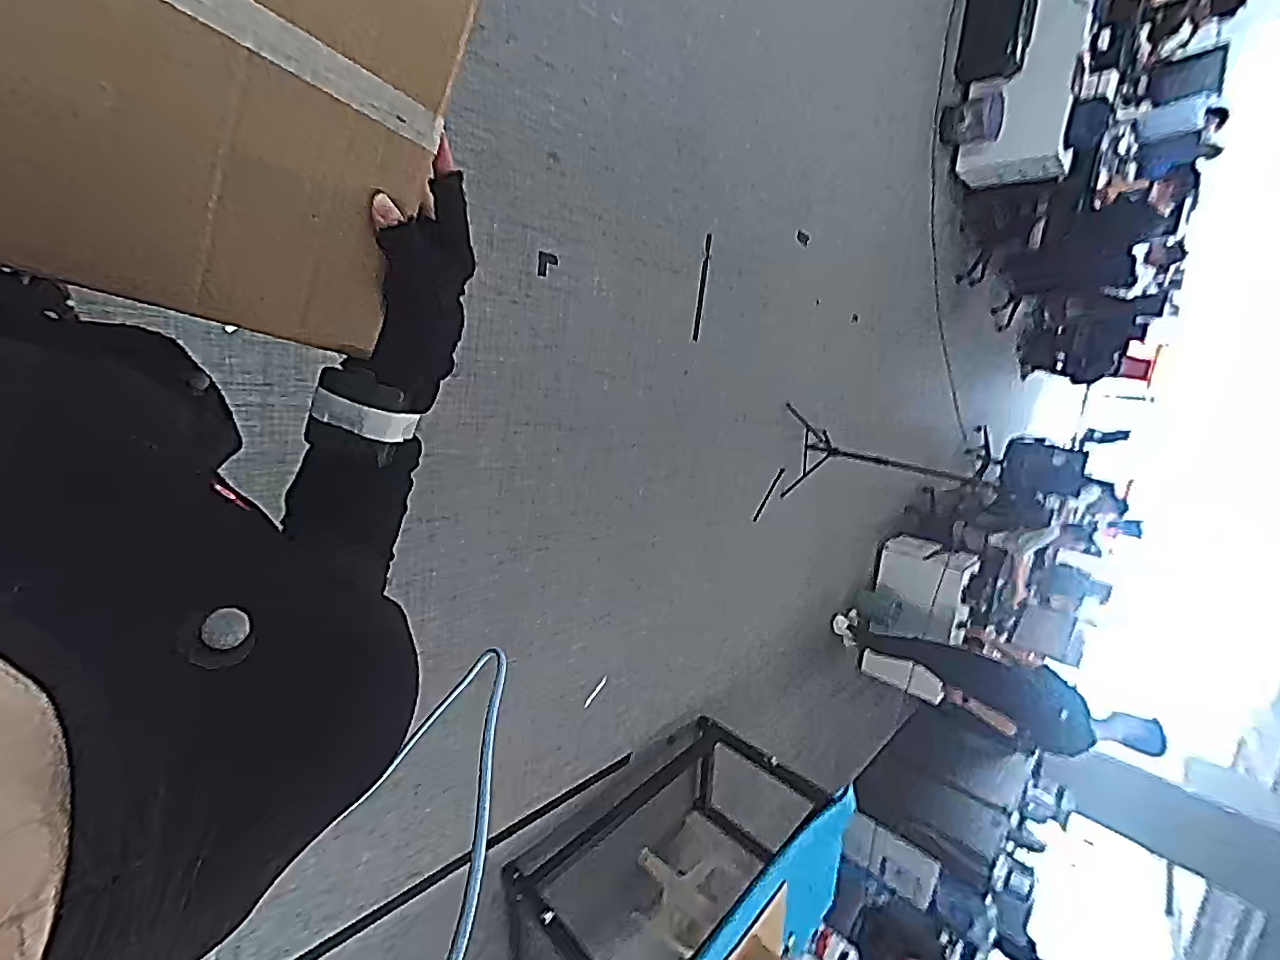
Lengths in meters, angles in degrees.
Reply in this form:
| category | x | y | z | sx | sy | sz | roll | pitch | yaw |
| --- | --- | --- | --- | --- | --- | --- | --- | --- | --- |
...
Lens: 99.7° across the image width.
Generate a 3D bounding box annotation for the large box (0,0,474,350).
| category | x | y | z | sx | sy | sz | roll | pitch | yaw |
| --- | --- | --- | --- | --- | --- | --- | --- | --- | --- |
| large box | -0.366 | -0.317 | 0.317 | 0.408 | 0.320 | 0.320 | 9 | 113 | -46 |
